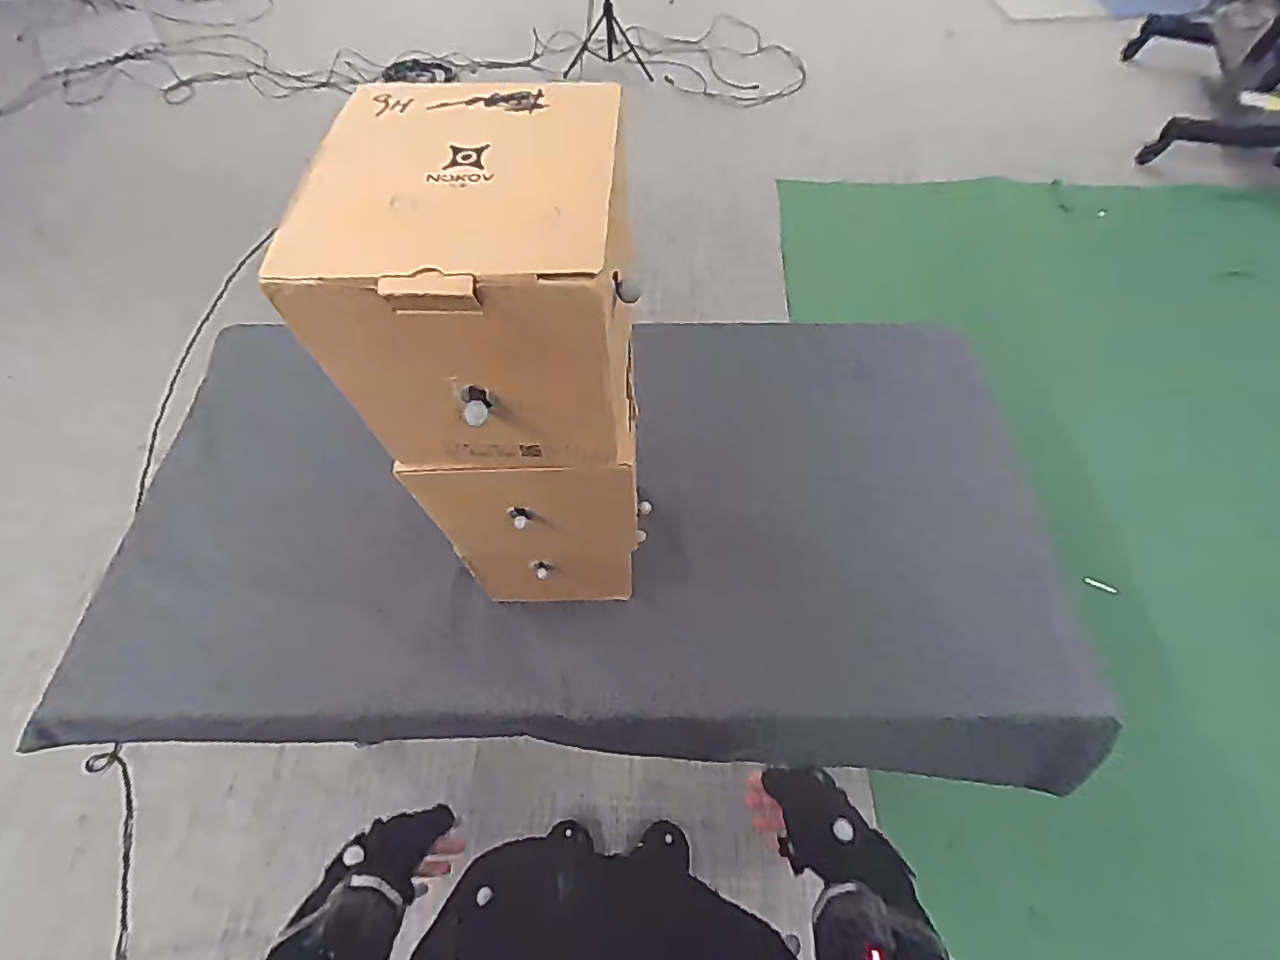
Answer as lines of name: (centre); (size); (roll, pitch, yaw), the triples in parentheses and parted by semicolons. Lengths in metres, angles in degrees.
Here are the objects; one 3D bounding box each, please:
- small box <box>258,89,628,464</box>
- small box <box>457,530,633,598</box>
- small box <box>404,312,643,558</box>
small box: (-0.096, -0.123, 0.362); (0.168, 0.176, 0.179); (1, 62, 2)
small box: (-0.097, 0.039, 0.647); (0.179, 0.176, 0.168); (0, 61, -1)
small box: (-0.091, -0.036, 0.501); (0.179, 0.176, 0.168); (-4, 61, -2)
